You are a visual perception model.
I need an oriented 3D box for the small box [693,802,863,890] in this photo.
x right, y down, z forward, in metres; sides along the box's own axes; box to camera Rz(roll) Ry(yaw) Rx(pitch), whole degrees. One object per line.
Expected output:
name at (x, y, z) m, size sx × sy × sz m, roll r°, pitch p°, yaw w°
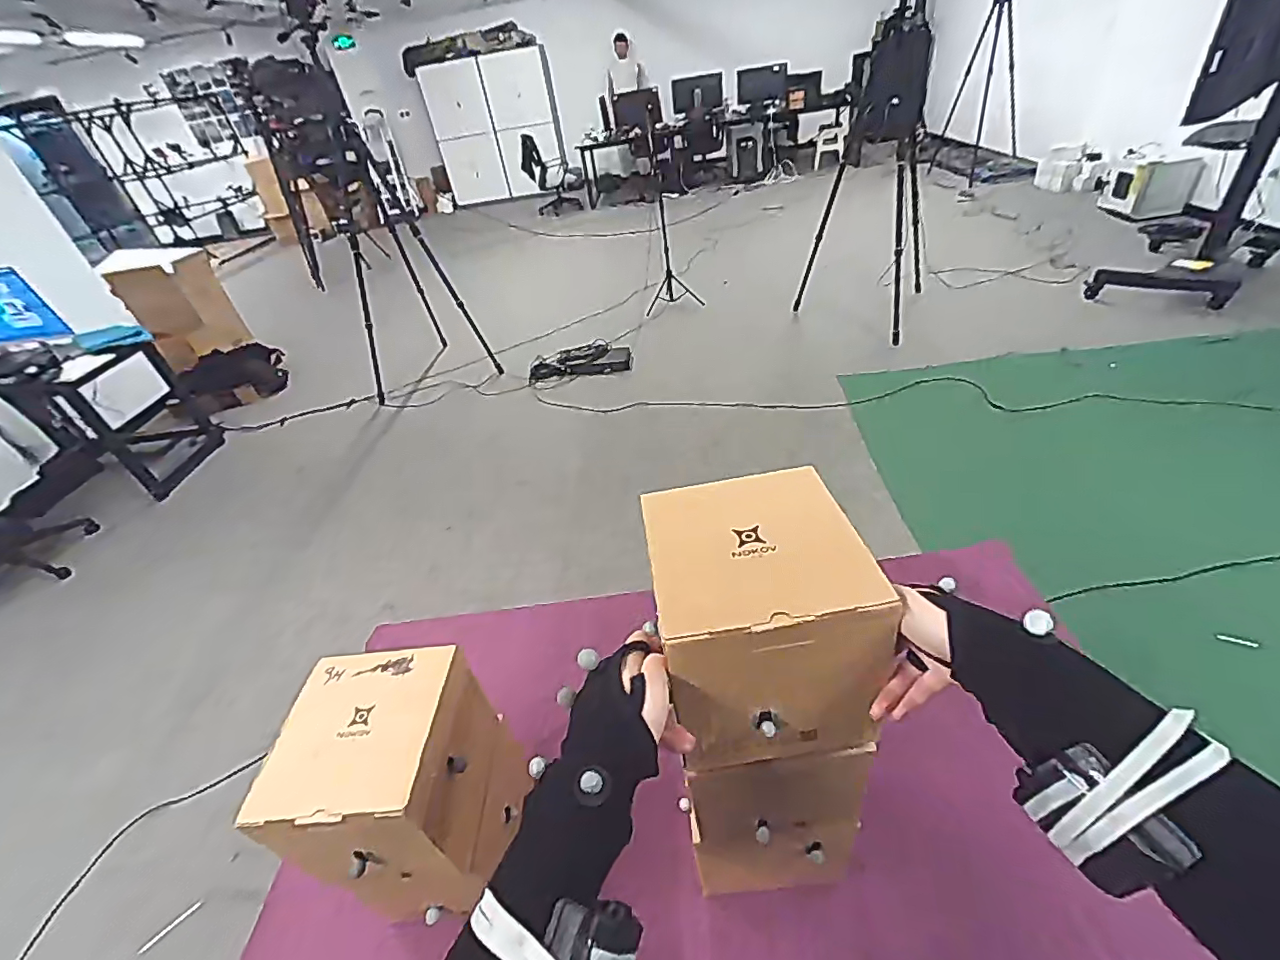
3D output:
small box at (0.155, 0.383, 0.674) m, size 0.179 × 0.176 × 0.168 m, roll -9°, pitch 37°, yaw 4°

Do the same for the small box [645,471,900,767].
small box at (0.102, 0.118, 0.482) m, size 0.168 × 0.176 × 0.179 m, roll -11°, pitch 35°, yaw 0°

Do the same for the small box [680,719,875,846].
small box at (0.128, 0.254, 0.577) m, size 0.168 × 0.176 × 0.179 m, roll -10°, pitch 38°, yaw 3°

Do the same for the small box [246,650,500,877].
small box at (-0.268, 0.317, 0.599) m, size 0.168 × 0.176 × 0.179 m, roll -7°, pitch 38°, yaw 5°

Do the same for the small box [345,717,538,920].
small box at (-0.239, 0.439, 0.705) m, size 0.168 × 0.176 × 0.179 m, roll -8°, pitch 38°, yaw 5°
